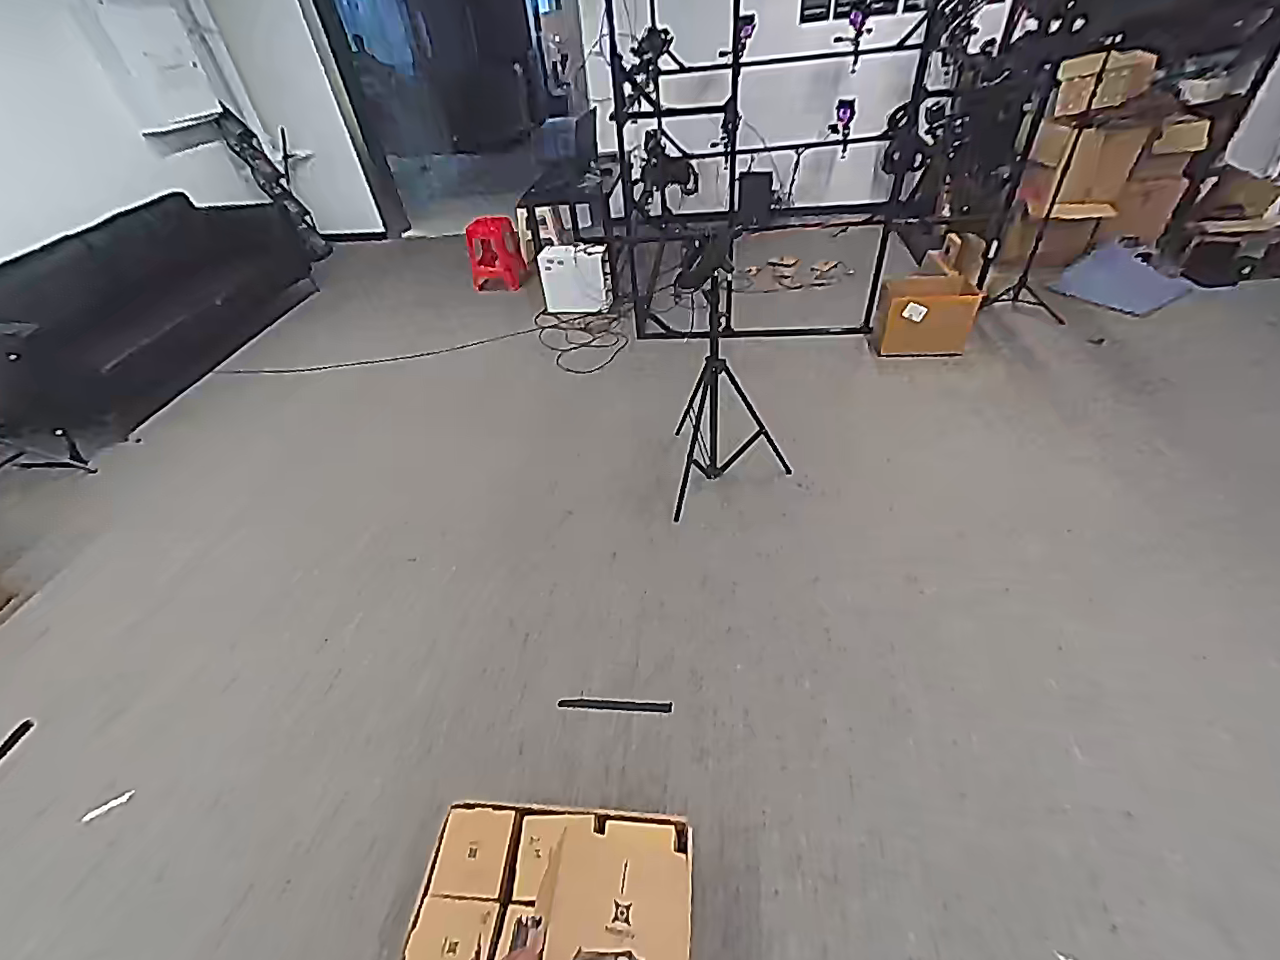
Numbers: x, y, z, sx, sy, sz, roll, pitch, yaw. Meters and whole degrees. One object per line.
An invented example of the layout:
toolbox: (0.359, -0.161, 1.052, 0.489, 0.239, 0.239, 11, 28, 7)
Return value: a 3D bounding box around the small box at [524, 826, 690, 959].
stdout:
small box: (-0.044, 0.565, 0.648, 0.168, 0.176, 0.179, 17, 29, -5)
